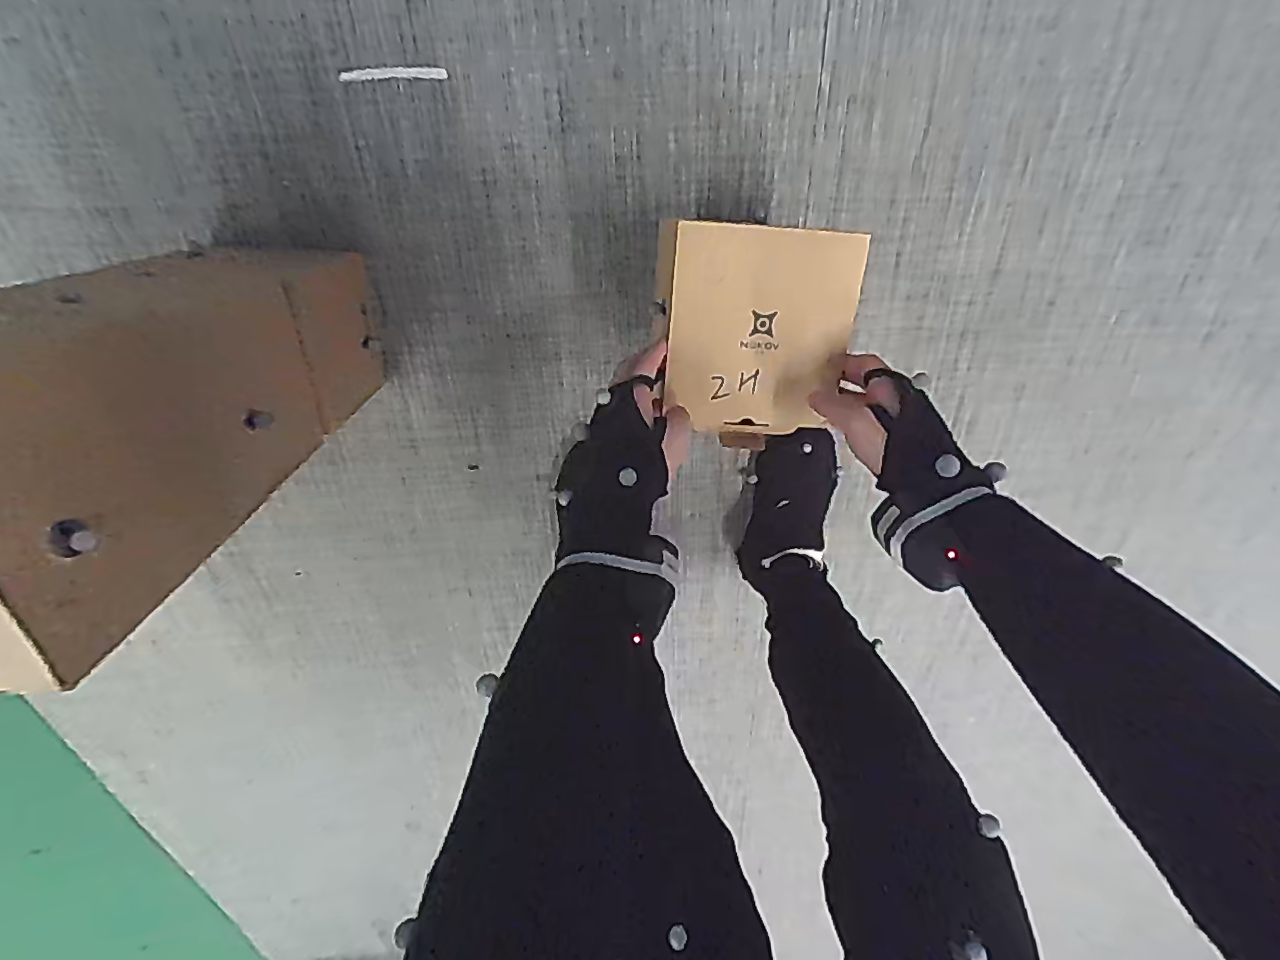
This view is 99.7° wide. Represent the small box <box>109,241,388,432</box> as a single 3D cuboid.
[{"bbox_3d":[-0.411,-0.166,0.603,0.179,0.176,0.168,2,121,-4],"label":"small box"}]

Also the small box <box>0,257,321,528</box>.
[{"bbox_3d":[-0.408,-0.079,0.464,0.168,0.176,0.179,1,122,-4],"label":"small box"}]

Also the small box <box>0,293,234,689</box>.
[{"bbox_3d":[-0.391,-0.003,0.319,0.168,0.176,0.179,0,120,-3],"label":"small box"}]

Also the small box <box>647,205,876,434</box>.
[{"bbox_3d":[0.102,-0.169,0.551,0.168,0.176,0.179,9,116,-5],"label":"small box"}]
